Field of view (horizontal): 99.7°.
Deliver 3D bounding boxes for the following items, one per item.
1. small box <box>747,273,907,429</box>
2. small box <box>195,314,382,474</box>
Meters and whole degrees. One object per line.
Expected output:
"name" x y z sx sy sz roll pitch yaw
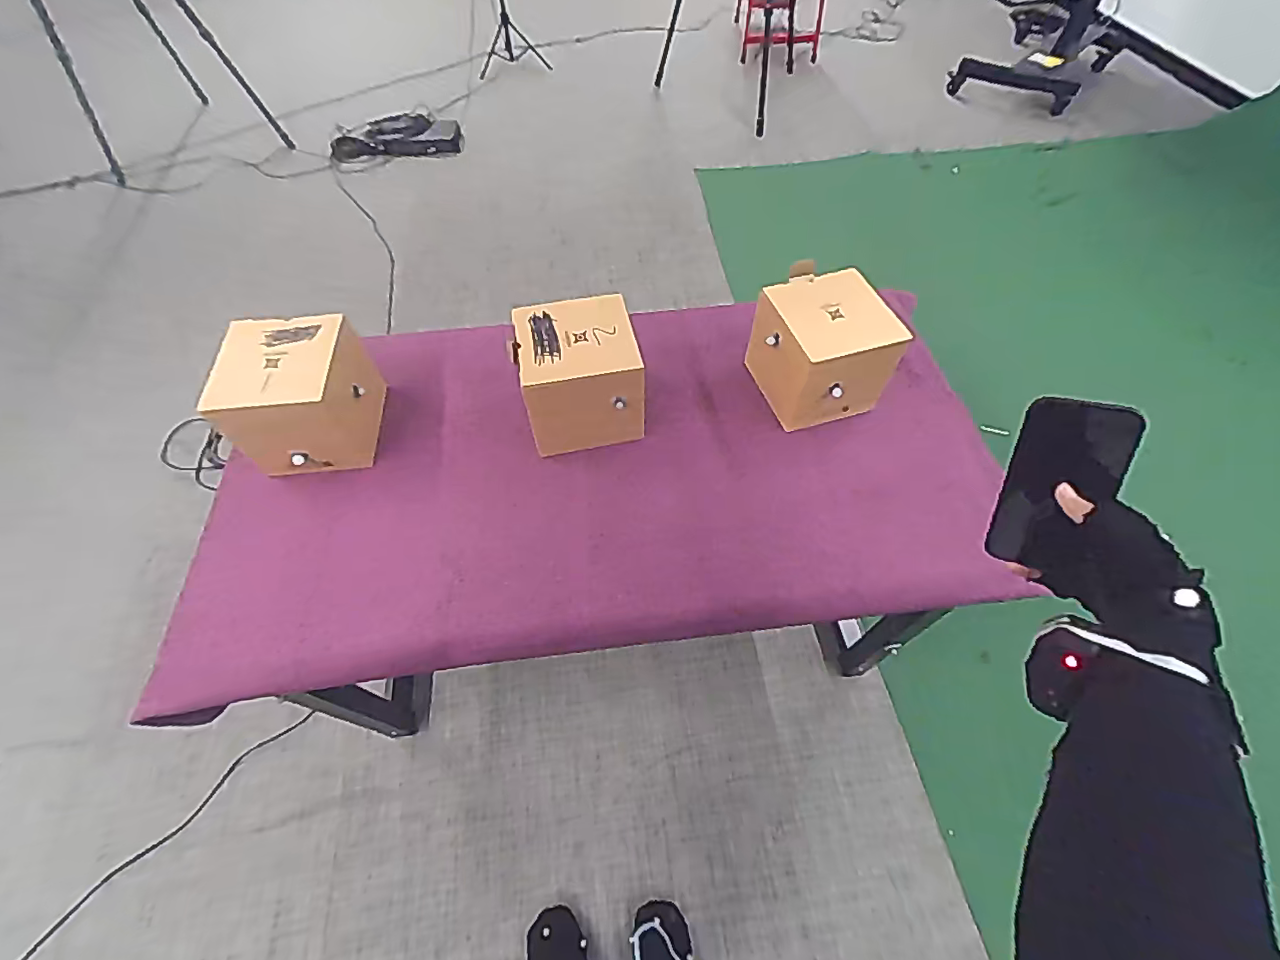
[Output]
"small box" 0.291 -0.202 0.884 0.168 0.176 0.179 -15 58 -9
"small box" -0.518 -0.129 0.832 0.168 0.176 0.179 -5 59 -3
